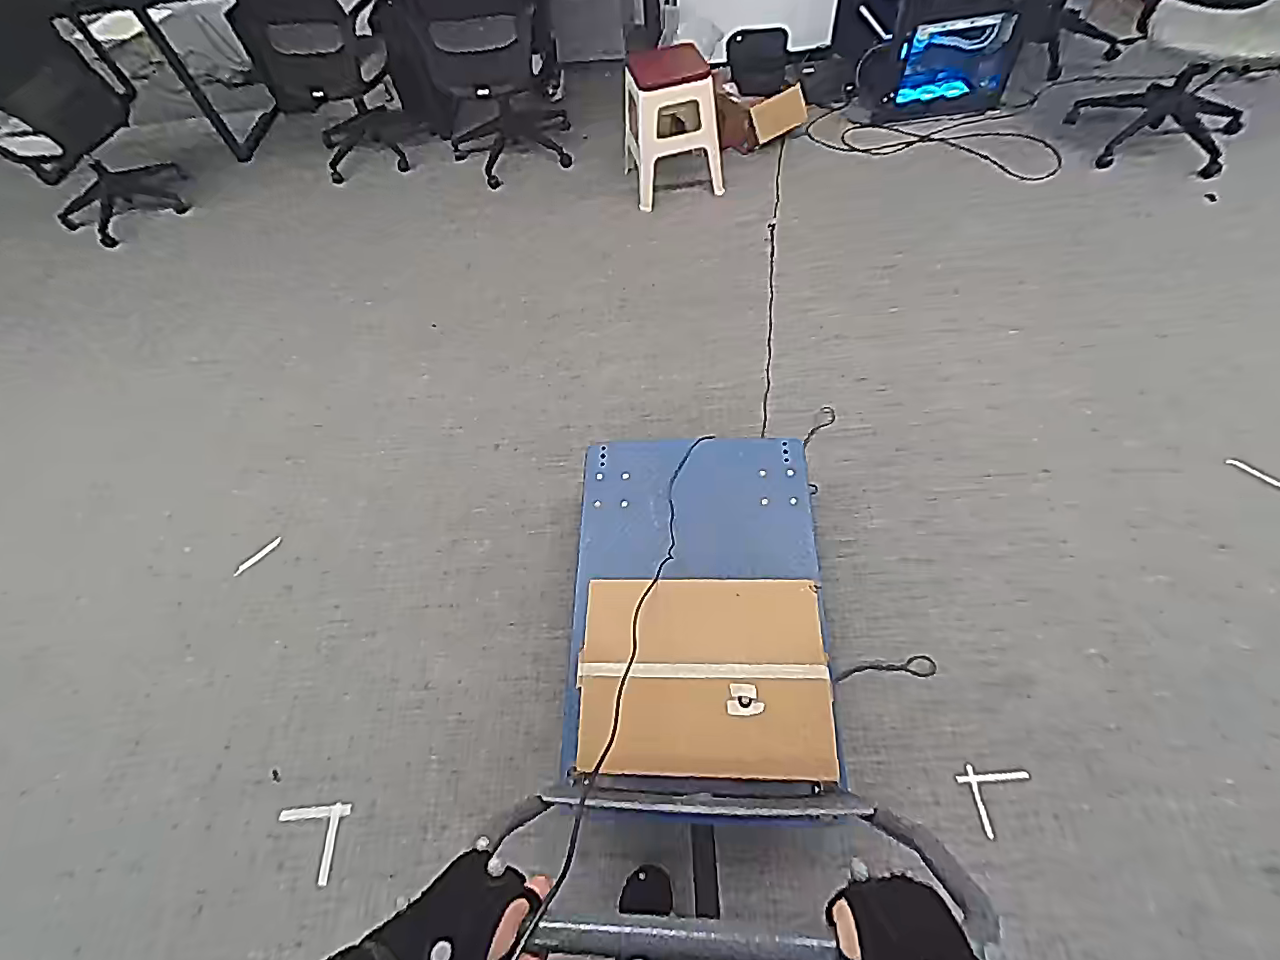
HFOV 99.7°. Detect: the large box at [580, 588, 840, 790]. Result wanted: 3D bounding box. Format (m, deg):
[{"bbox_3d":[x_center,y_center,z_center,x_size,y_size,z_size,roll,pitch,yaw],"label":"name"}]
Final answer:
[{"bbox_3d":[0.115,0.397,1.020,0.408,0.320,0.320,-1,64,5],"label":"large box"}]
